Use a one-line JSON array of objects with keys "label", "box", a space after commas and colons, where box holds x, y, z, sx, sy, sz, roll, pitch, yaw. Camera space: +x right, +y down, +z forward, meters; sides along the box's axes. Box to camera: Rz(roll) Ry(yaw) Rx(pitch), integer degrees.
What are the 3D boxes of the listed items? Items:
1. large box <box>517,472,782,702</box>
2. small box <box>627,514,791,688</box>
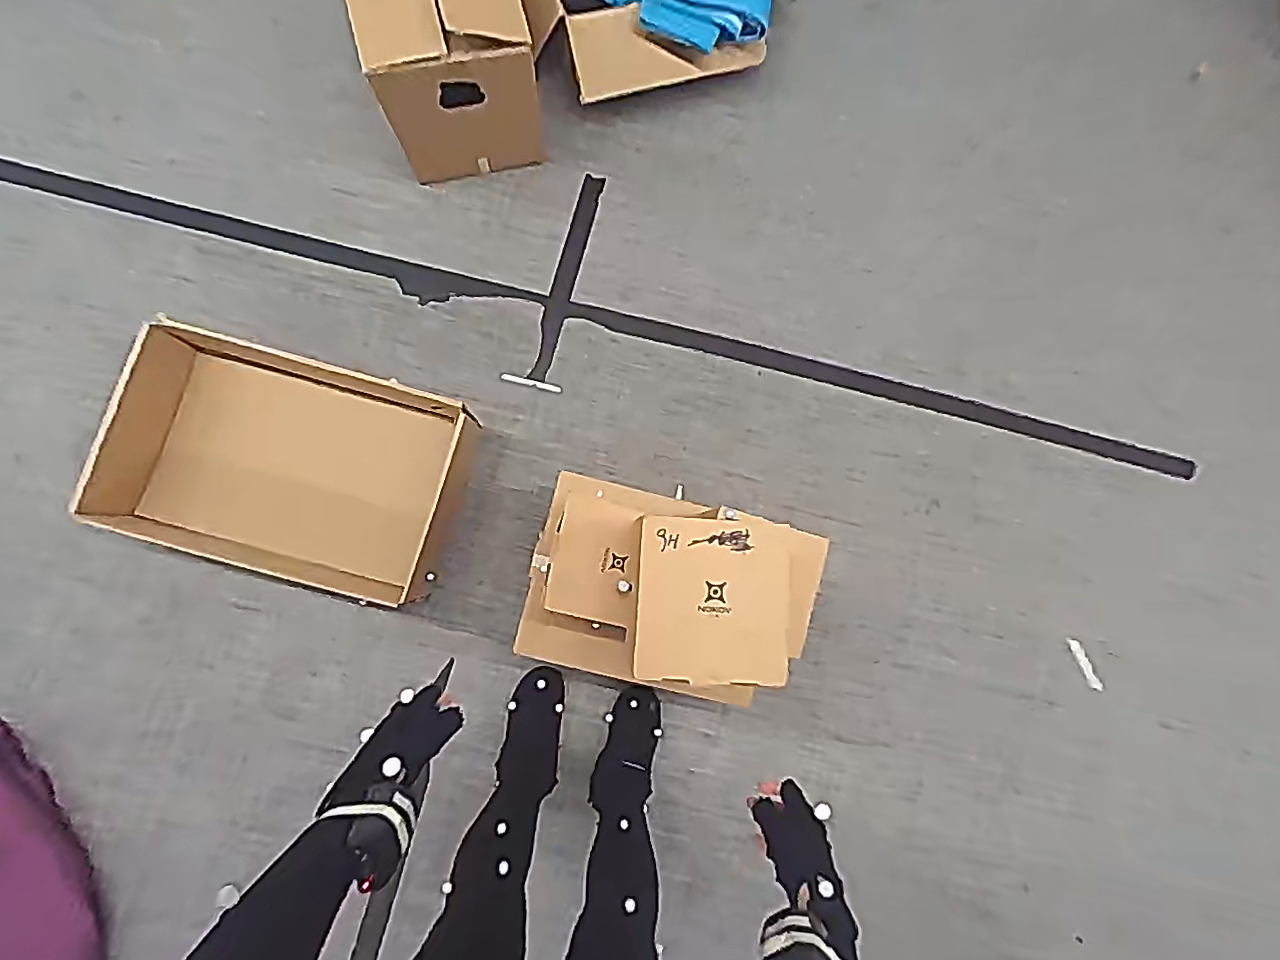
[{"label": "large box", "box": [0.010, 0.201, 1.049, 0.408, 0.320, 0.320, 14, 80, -3]}, {"label": "small box", "box": [0.073, 0.137, 0.659, 0.168, 0.176, 0.179, 4, 83, -4]}]
